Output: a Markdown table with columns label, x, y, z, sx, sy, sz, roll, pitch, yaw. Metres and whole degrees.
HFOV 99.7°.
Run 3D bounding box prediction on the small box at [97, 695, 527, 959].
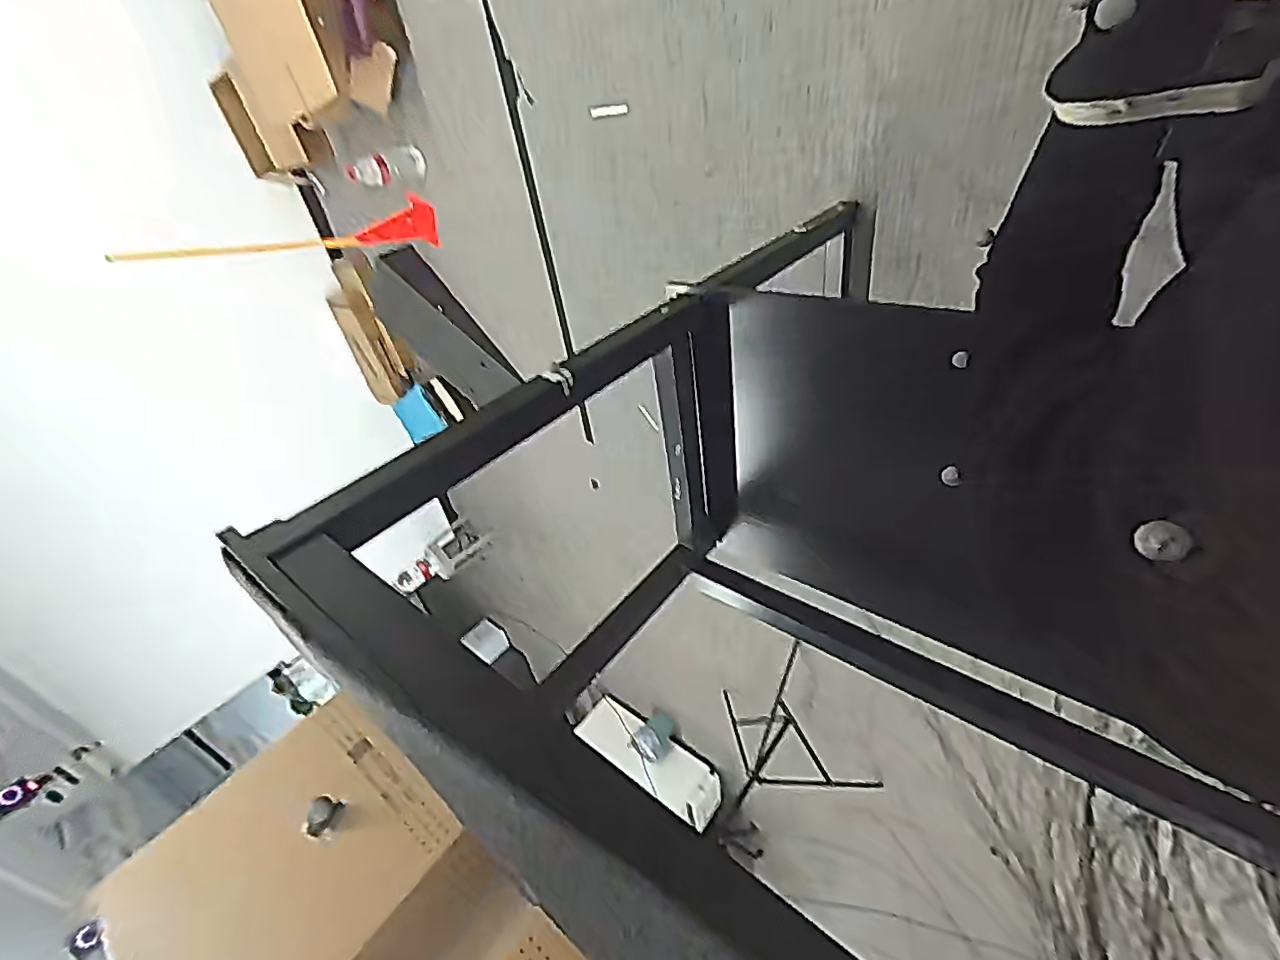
| label | x | y | z | sx | sy | sz | roll | pitch | yaw |
| --- | --- | --- | --- | --- | --- | --- | --- | --- | --- |
| small box | -0.204 | 0.295 | 0.379 | 0.168 | 0.176 | 0.179 | 21 | 136 | 33 |
